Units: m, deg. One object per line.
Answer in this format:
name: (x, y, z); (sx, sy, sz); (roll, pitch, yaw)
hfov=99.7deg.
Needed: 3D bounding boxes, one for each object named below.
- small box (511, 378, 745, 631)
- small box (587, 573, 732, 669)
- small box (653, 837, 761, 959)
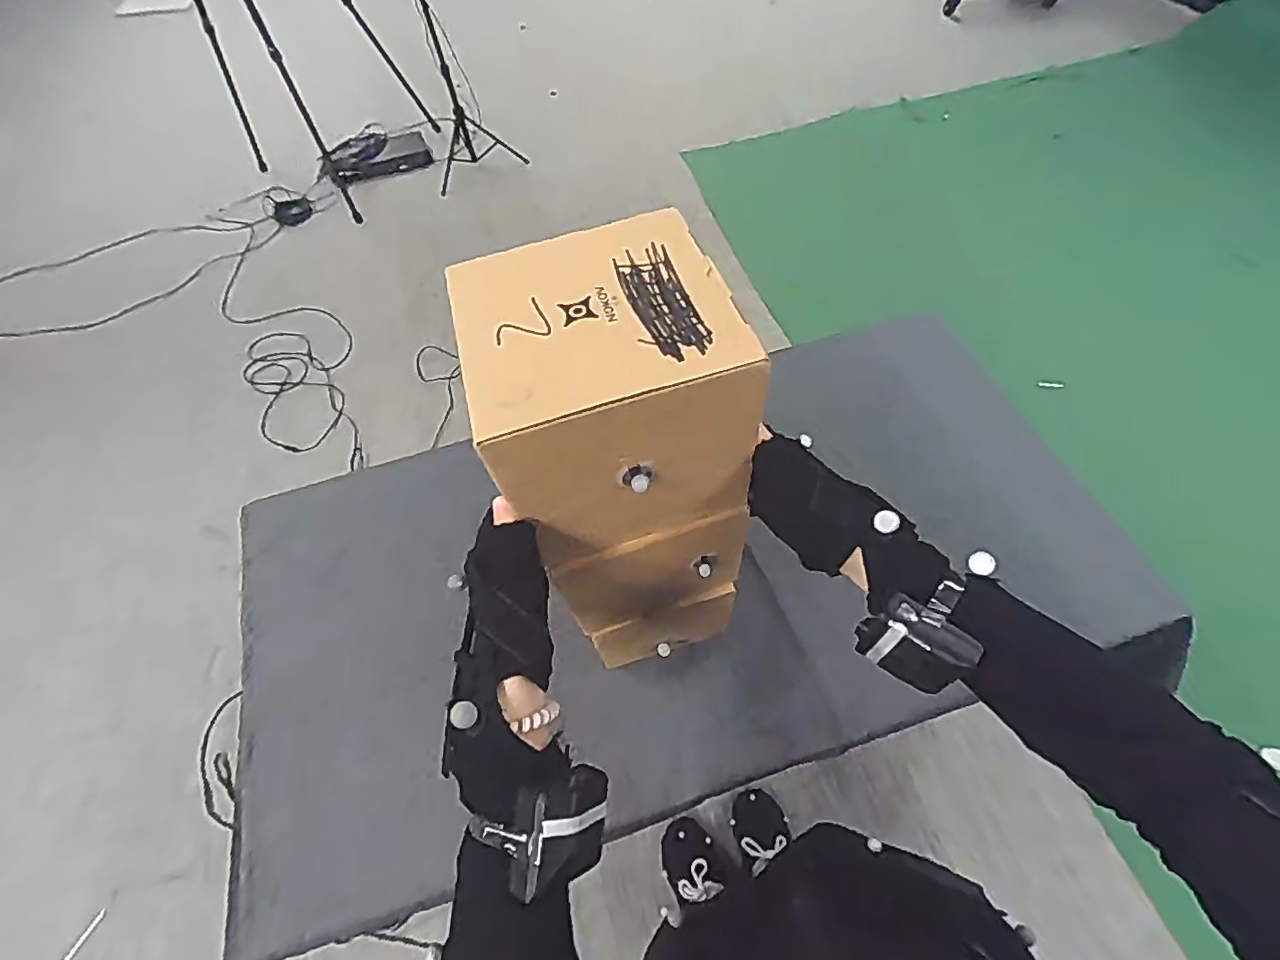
small box: (-0.012, 0.030, 0.550); (0.179, 0.176, 0.168); (-18, 57, -6)
small box: (0.005, 0.118, 0.687); (0.168, 0.176, 0.179); (-16, 59, -5)
small box: (0.137, 0.858, 1.100); (0.179, 0.176, 0.168); (2, 69, 25)
